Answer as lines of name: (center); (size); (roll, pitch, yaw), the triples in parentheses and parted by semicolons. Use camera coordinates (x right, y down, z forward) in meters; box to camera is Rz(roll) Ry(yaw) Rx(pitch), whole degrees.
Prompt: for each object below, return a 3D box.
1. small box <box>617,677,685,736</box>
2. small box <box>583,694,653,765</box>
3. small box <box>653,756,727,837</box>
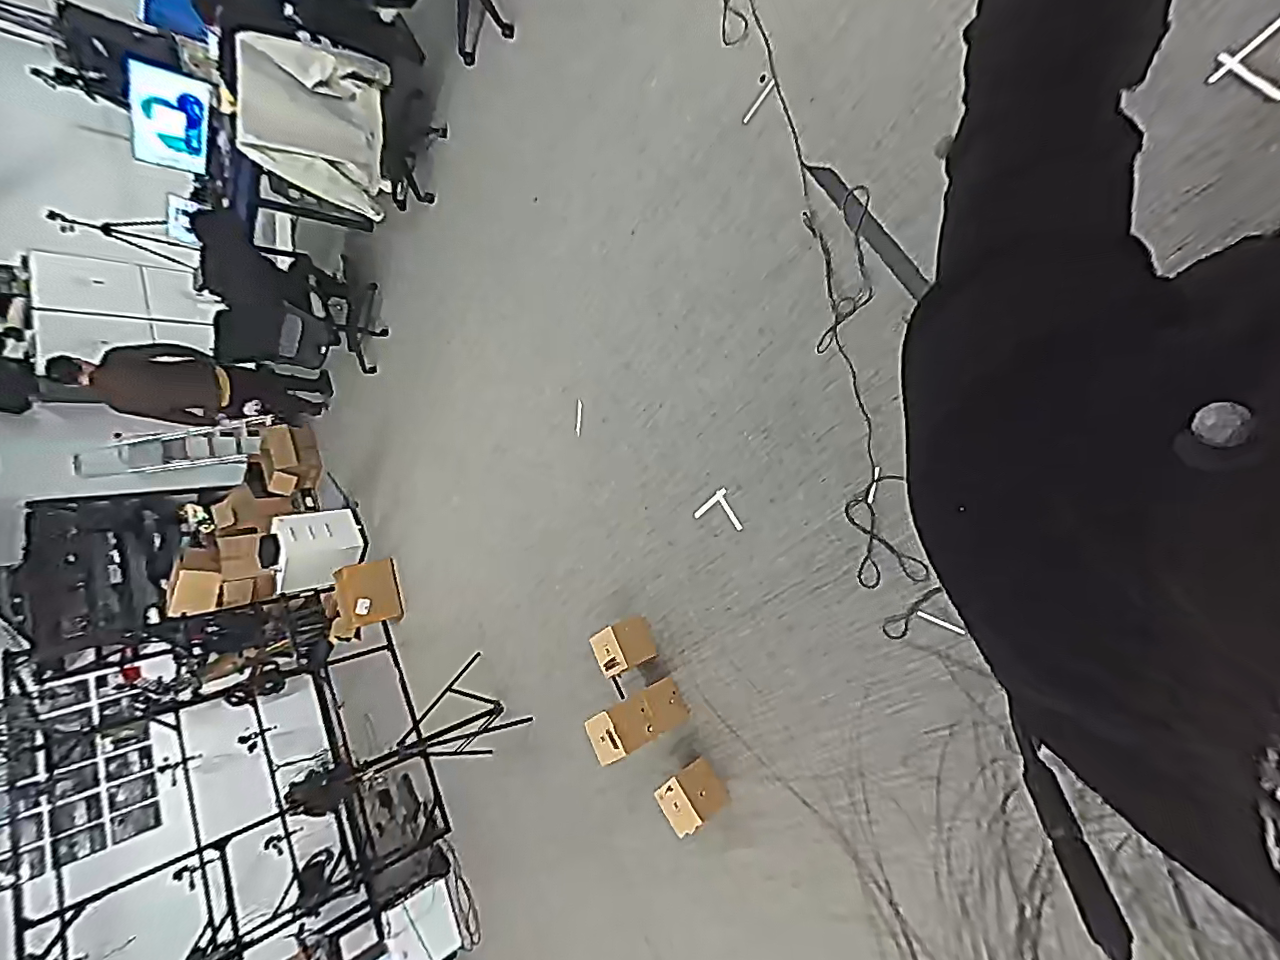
small box: (0.044, 0.895, 2.114); (0.179, 0.176, 0.168); (-41, 67, 40)
small box: (-0.075, 0.919, 2.004); (0.179, 0.176, 0.168); (-46, 64, 39)
small box: (0.189, 1.172, 2.010); (0.179, 0.176, 0.168); (51, 127, 27)
